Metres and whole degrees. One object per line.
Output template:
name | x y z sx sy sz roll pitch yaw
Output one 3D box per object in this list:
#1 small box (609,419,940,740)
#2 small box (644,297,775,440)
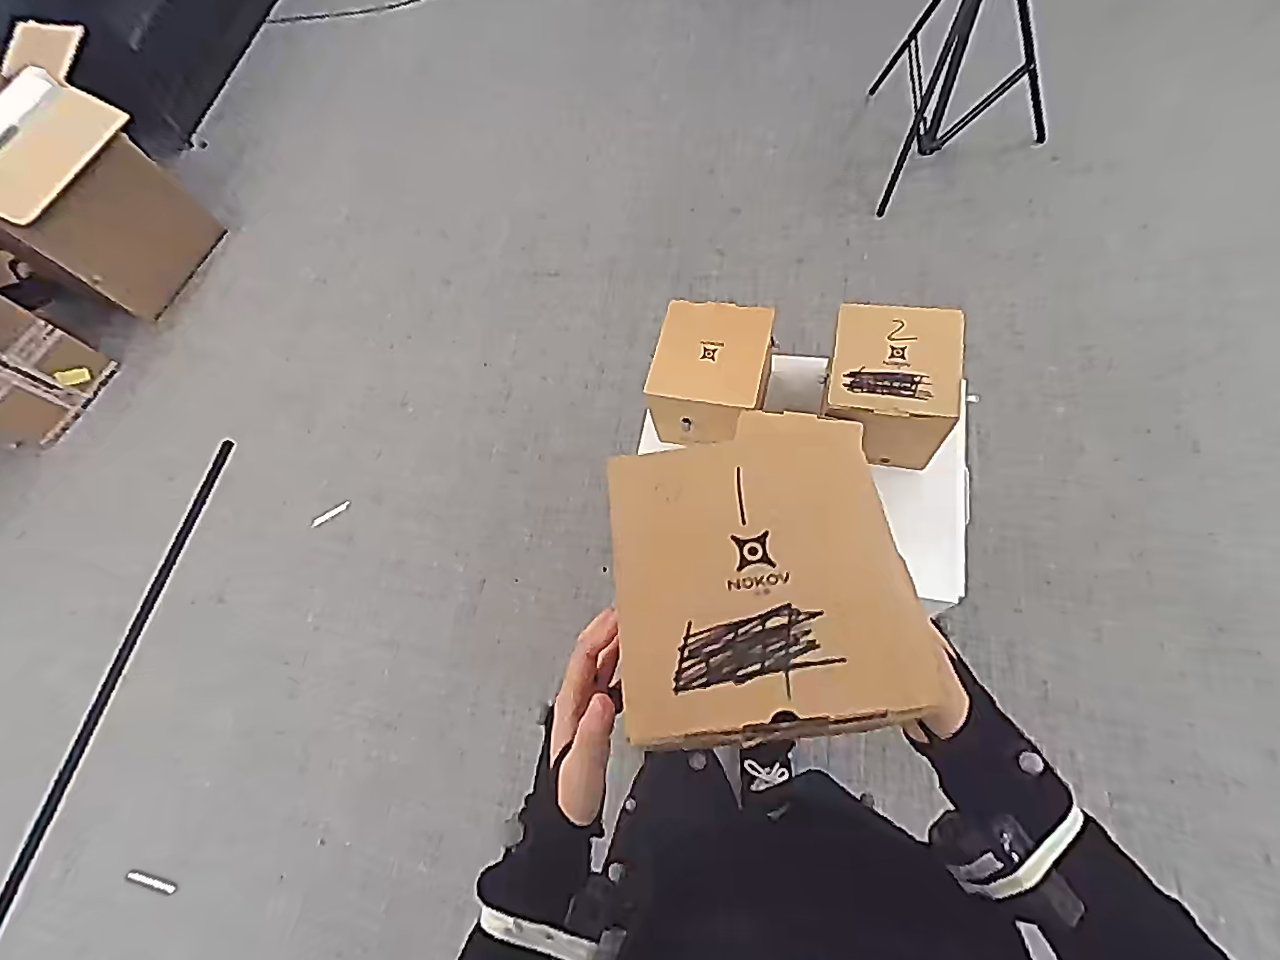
small box | 0.076 0.083 0.385 0.168 0.176 0.179 -7 61 4
small box | 0.118 -0.165 0.869 0.168 0.176 0.179 10 70 15
